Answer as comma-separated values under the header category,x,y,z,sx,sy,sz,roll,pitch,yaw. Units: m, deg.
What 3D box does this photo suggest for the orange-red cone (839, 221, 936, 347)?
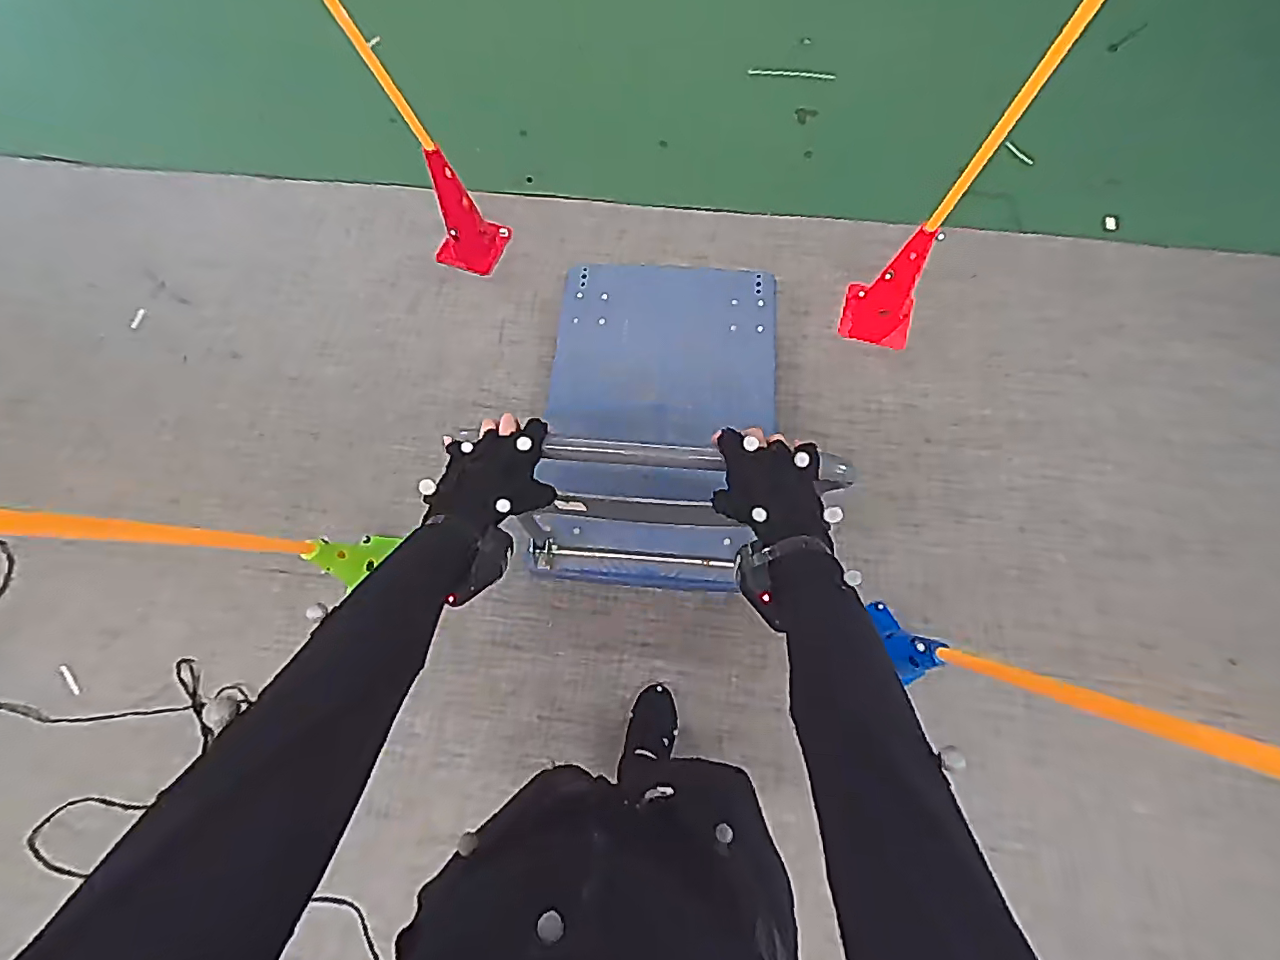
category,x,y,z,sx,sy,sz,roll,pitch,yaw
orange-red cone,0.705,-0.553,1.467,0.198,0.360,0.199,17,74,8
